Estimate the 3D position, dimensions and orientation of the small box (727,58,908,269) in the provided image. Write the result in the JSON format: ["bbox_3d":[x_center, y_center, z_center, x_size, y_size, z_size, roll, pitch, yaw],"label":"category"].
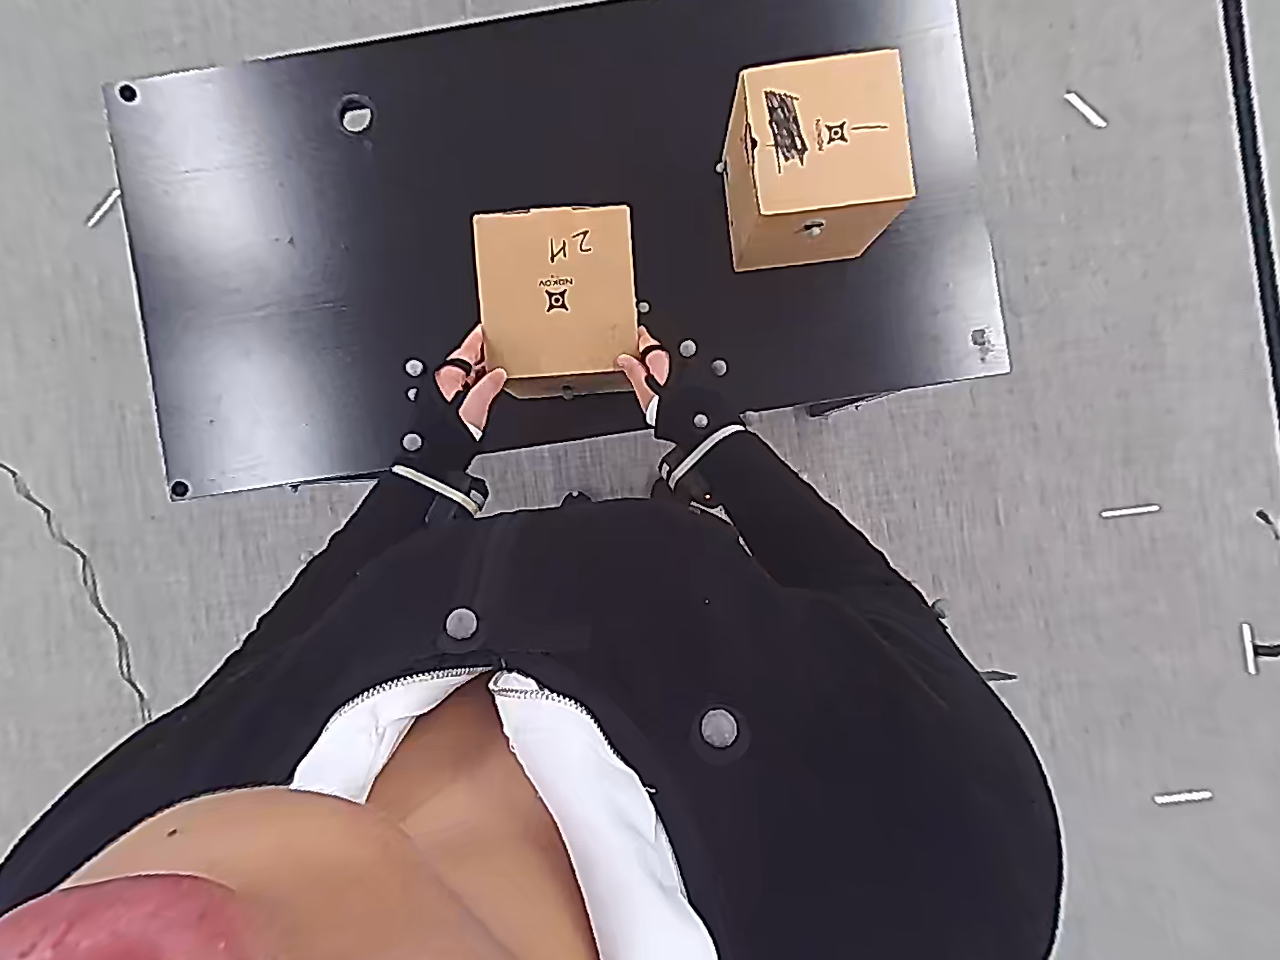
[{"bbox_3d":[0.209,-0.384,0.688,0.179,0.176,0.168,-6,90,1],"label":"small box"}]

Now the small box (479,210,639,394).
[{"bbox_3d":[-0.087,-0.201,0.661,0.168,0.176,0.179,-4,92,-1],"label":"small box"}]
